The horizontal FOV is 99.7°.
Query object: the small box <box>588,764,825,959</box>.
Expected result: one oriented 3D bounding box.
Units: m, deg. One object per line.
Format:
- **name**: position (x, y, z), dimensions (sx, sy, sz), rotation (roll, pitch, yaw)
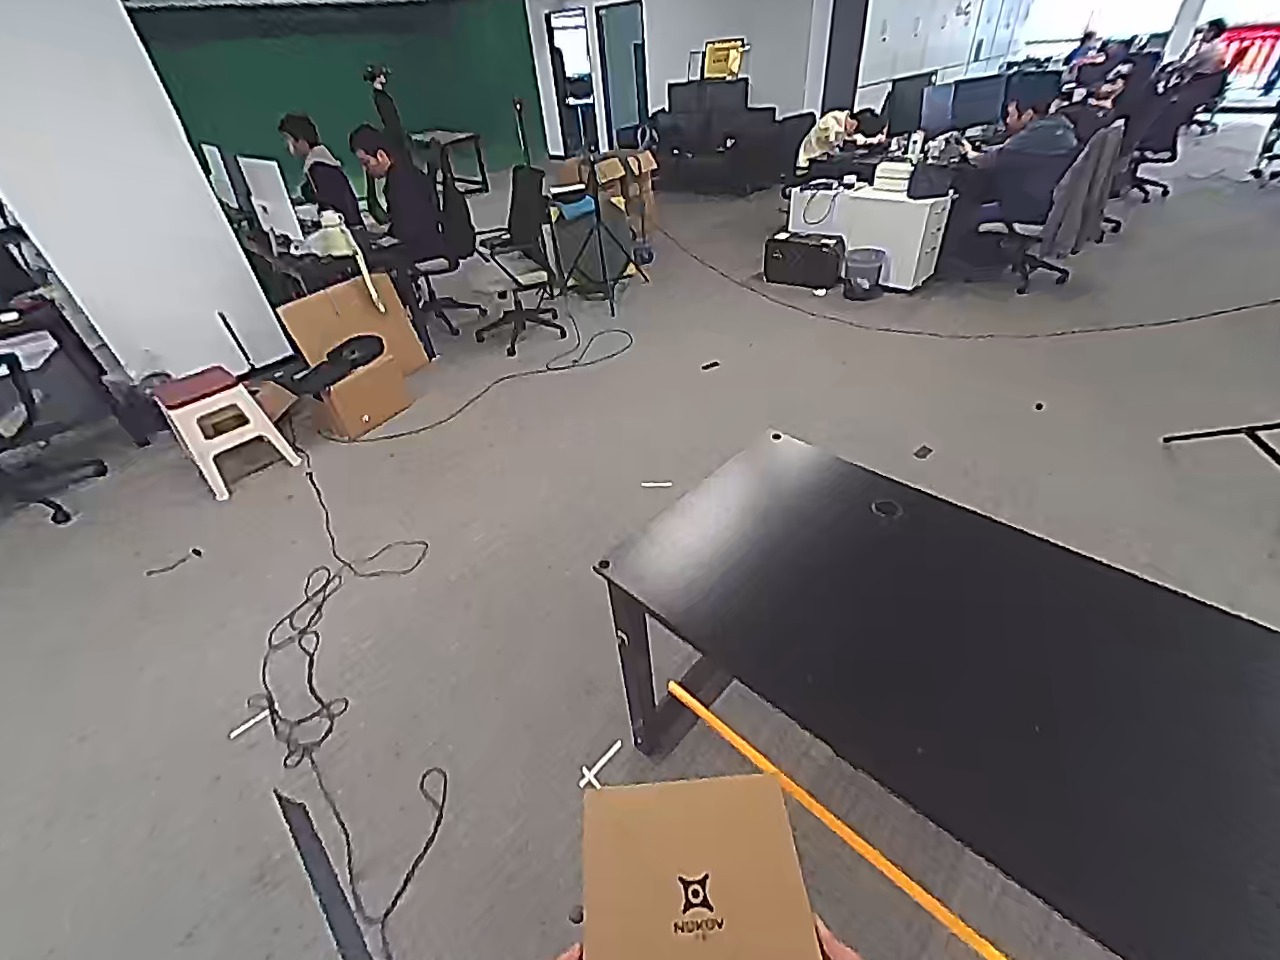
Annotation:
- **small box**: position (0.046, 0.367, 0.452), dimensions (0.168, 0.176, 0.179), rotation (-4, 41, -1)
